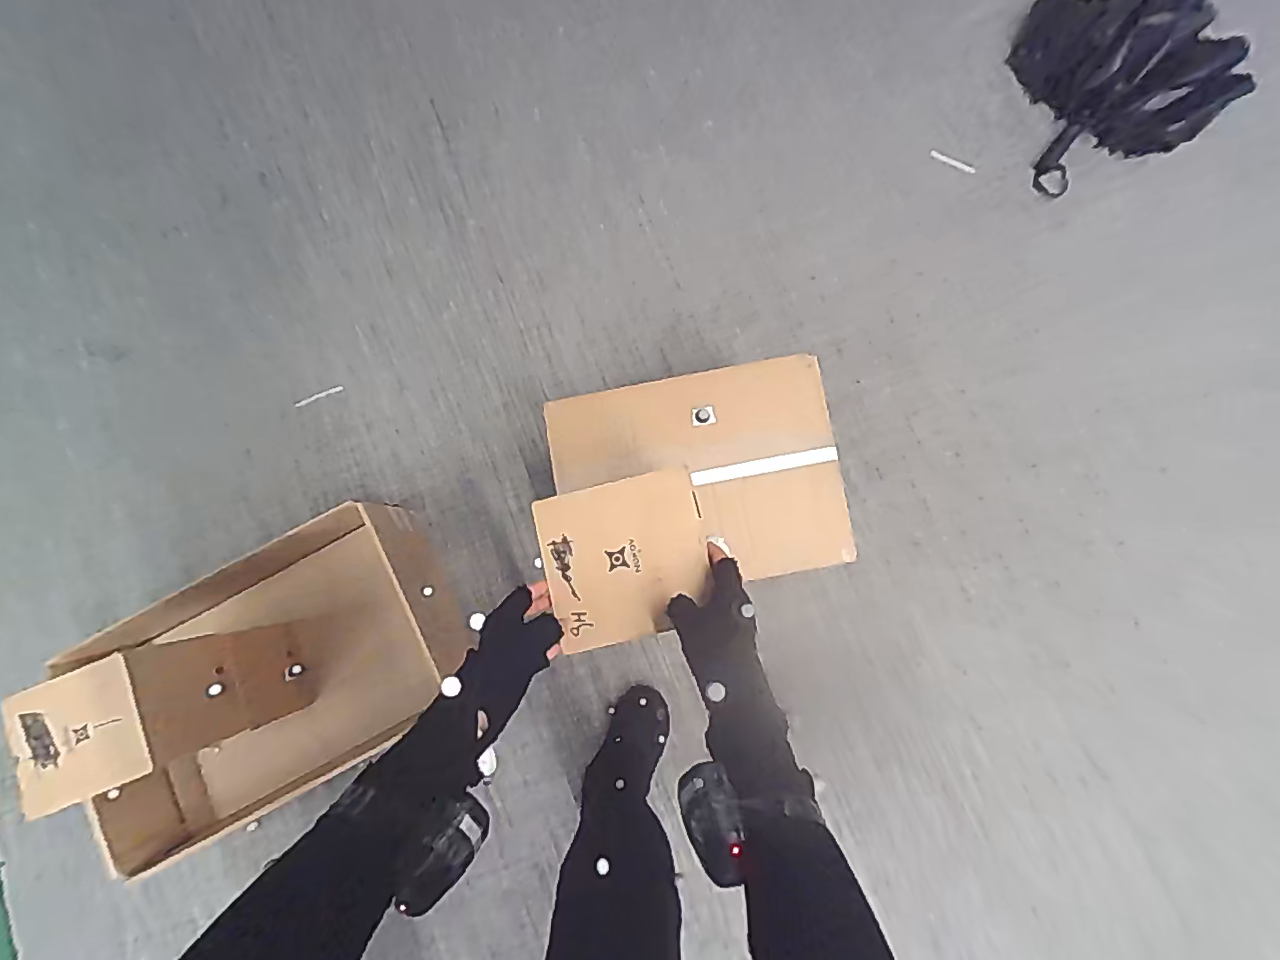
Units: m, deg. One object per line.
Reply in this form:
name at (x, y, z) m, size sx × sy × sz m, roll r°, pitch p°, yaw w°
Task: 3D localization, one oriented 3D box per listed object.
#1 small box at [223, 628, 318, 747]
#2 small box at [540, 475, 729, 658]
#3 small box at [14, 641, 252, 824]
small box at (-0.720, 0.377, 0.957) m, size 0.179 × 0.176 × 0.168 m, roll -21°, pitch 82°, yaw -2°
small box at (-0.004, 0.101, 0.652) m, size 0.179 × 0.176 × 0.168 m, roll -14°, pitch 80°, yaw 2°
small box at (-0.729, 0.355, 0.795) m, size 0.179 × 0.176 × 0.168 m, roll -22°, pitch 82°, yaw -2°
